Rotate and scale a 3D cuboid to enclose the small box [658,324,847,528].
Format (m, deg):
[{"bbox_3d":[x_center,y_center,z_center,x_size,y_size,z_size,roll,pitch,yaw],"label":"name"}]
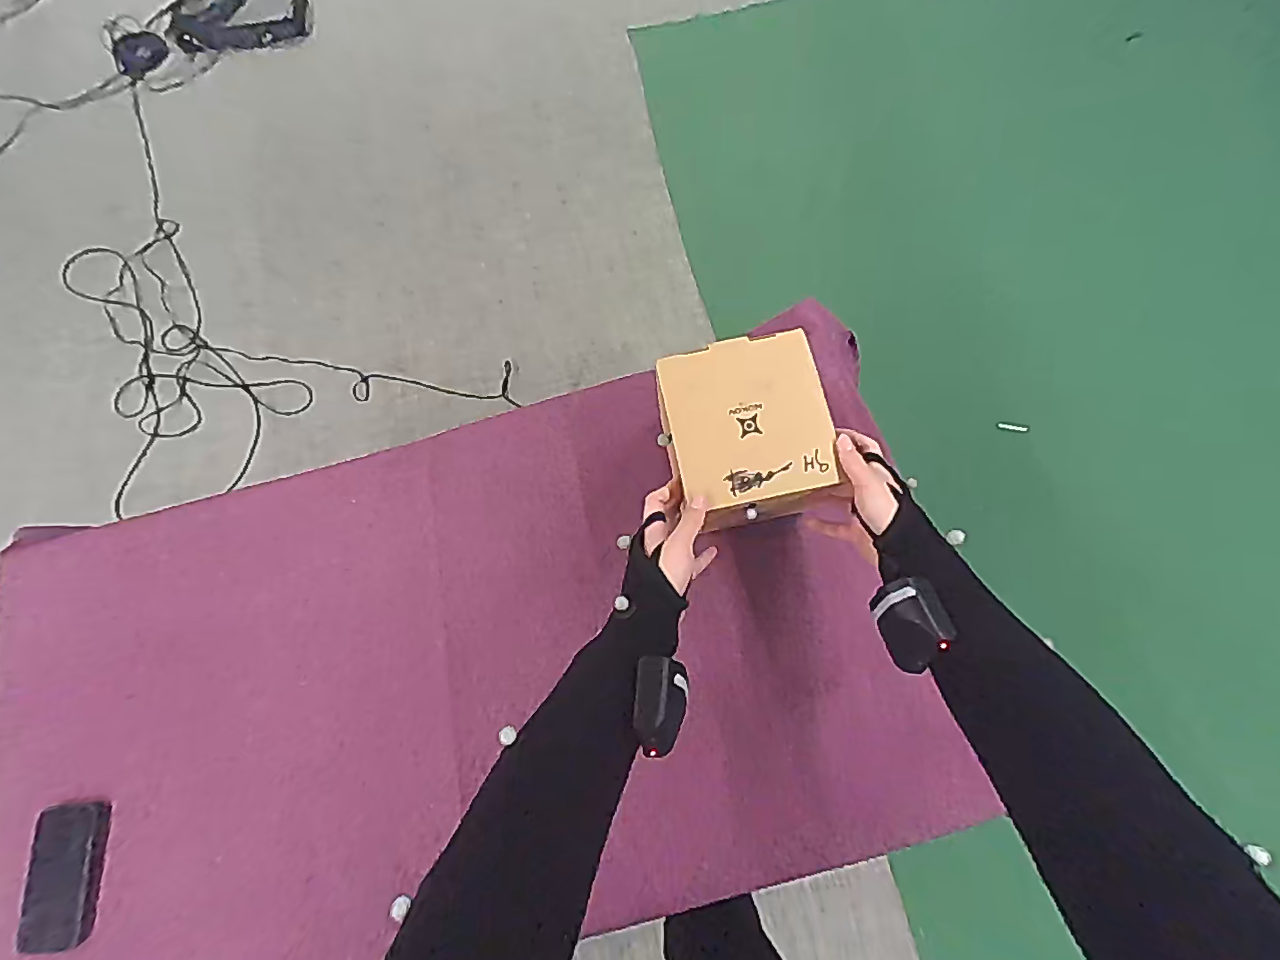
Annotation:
[{"bbox_3d":[0.117,-0.053,0.639,0.168,0.176,0.179,-12,77,2],"label":"small box"}]
